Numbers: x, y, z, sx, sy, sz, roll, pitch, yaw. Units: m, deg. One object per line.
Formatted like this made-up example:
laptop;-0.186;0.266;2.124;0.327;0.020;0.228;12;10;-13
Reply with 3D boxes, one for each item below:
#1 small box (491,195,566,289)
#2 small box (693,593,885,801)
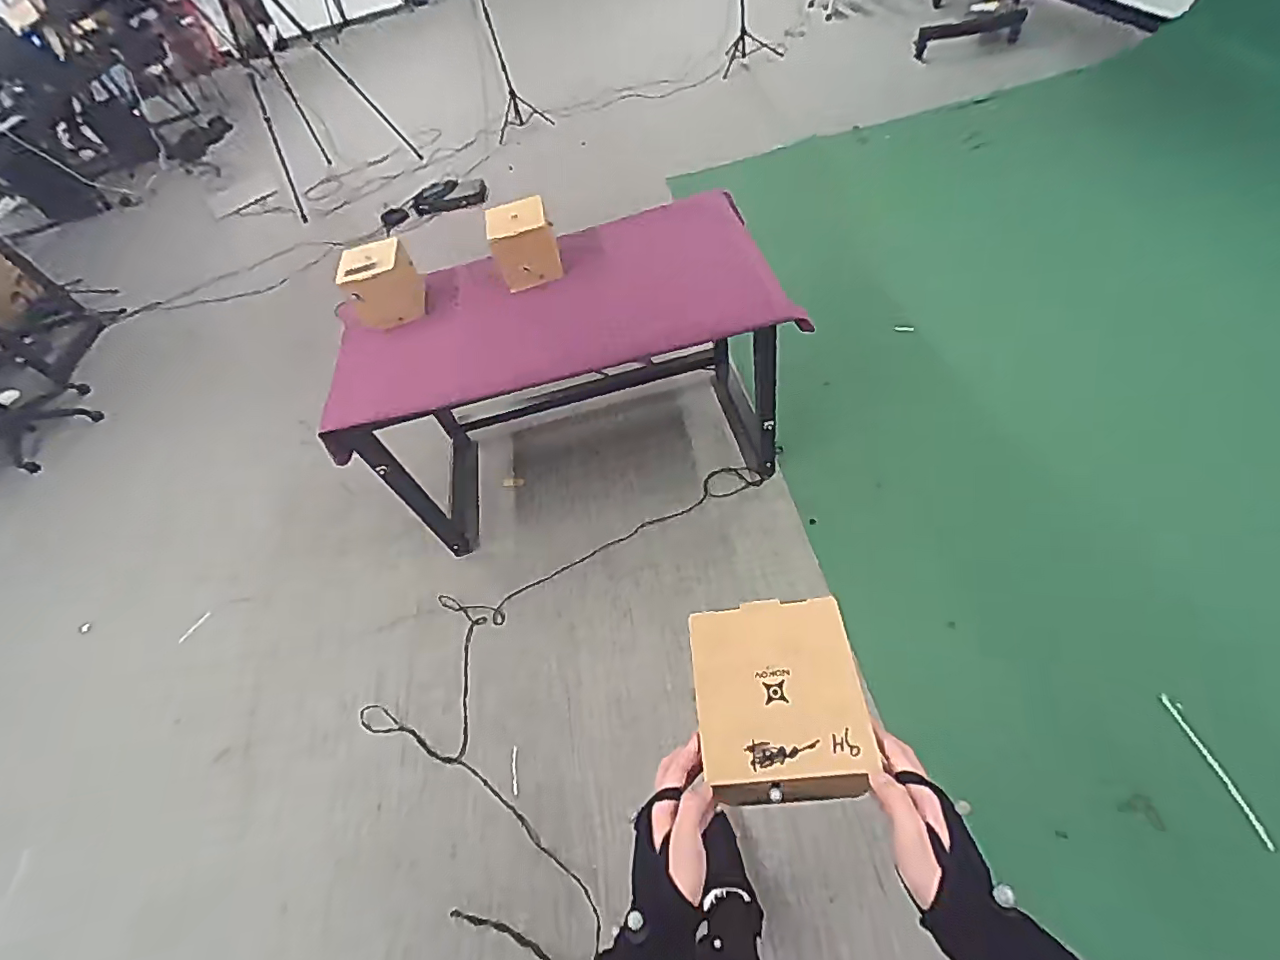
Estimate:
small box;-0.318;-0.679;1.549;0.168;0.176;0.179;-14;54;1
small box;0.156;0.249;0.609;0.168;0.176;0.179;-9;53;9
